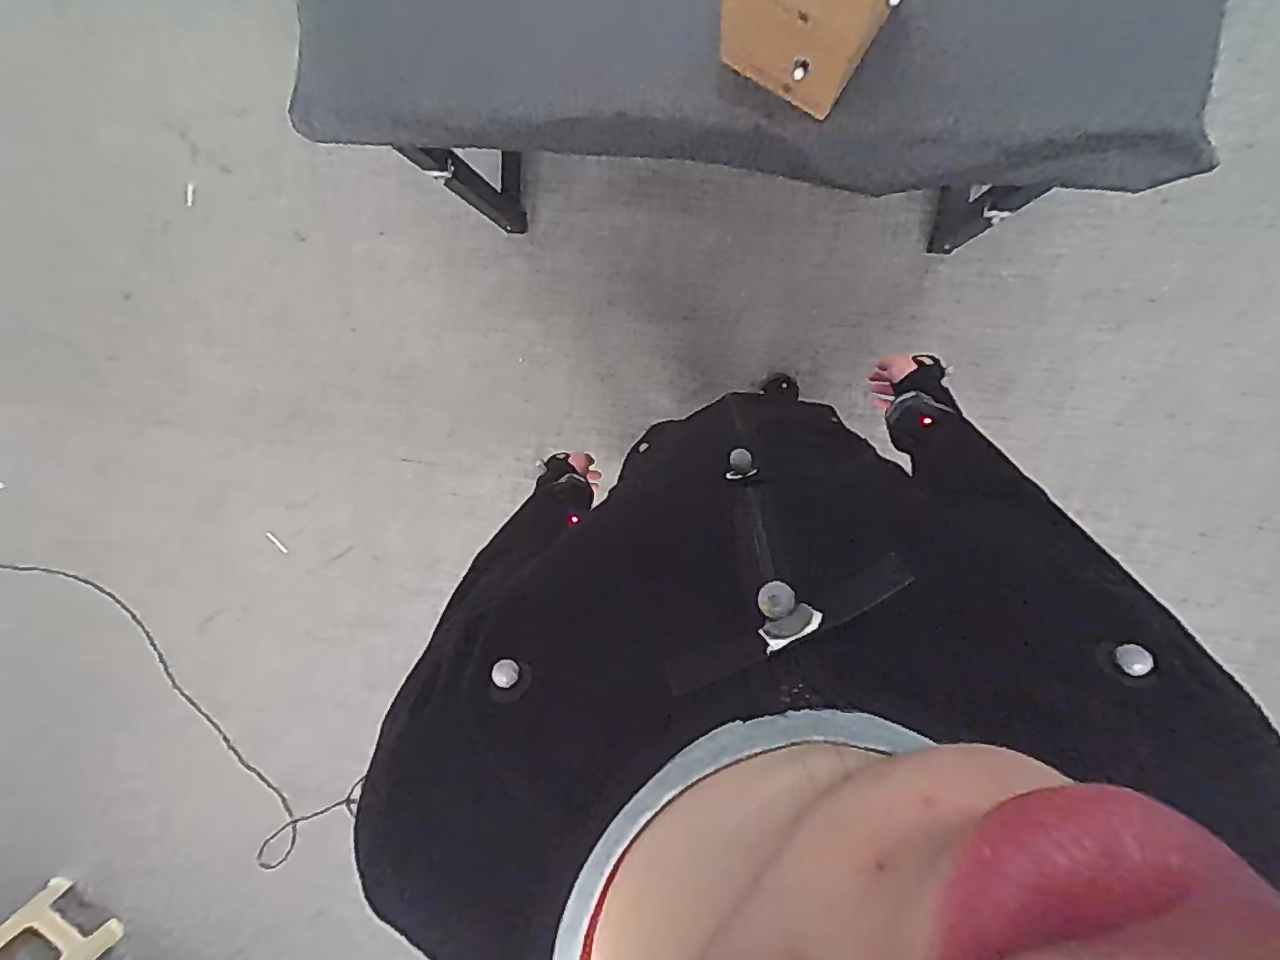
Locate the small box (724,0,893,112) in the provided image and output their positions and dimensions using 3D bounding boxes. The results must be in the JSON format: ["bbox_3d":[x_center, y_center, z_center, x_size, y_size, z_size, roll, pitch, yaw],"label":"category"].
[{"bbox_3d":[0.211,-0.588,0.637,0.168,0.176,0.179,32,101,1],"label":"small box"}]

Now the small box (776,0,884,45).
[{"bbox_3d":[0.188,-0.549,0.478,0.168,0.176,0.179,32,103,1],"label":"small box"}]
